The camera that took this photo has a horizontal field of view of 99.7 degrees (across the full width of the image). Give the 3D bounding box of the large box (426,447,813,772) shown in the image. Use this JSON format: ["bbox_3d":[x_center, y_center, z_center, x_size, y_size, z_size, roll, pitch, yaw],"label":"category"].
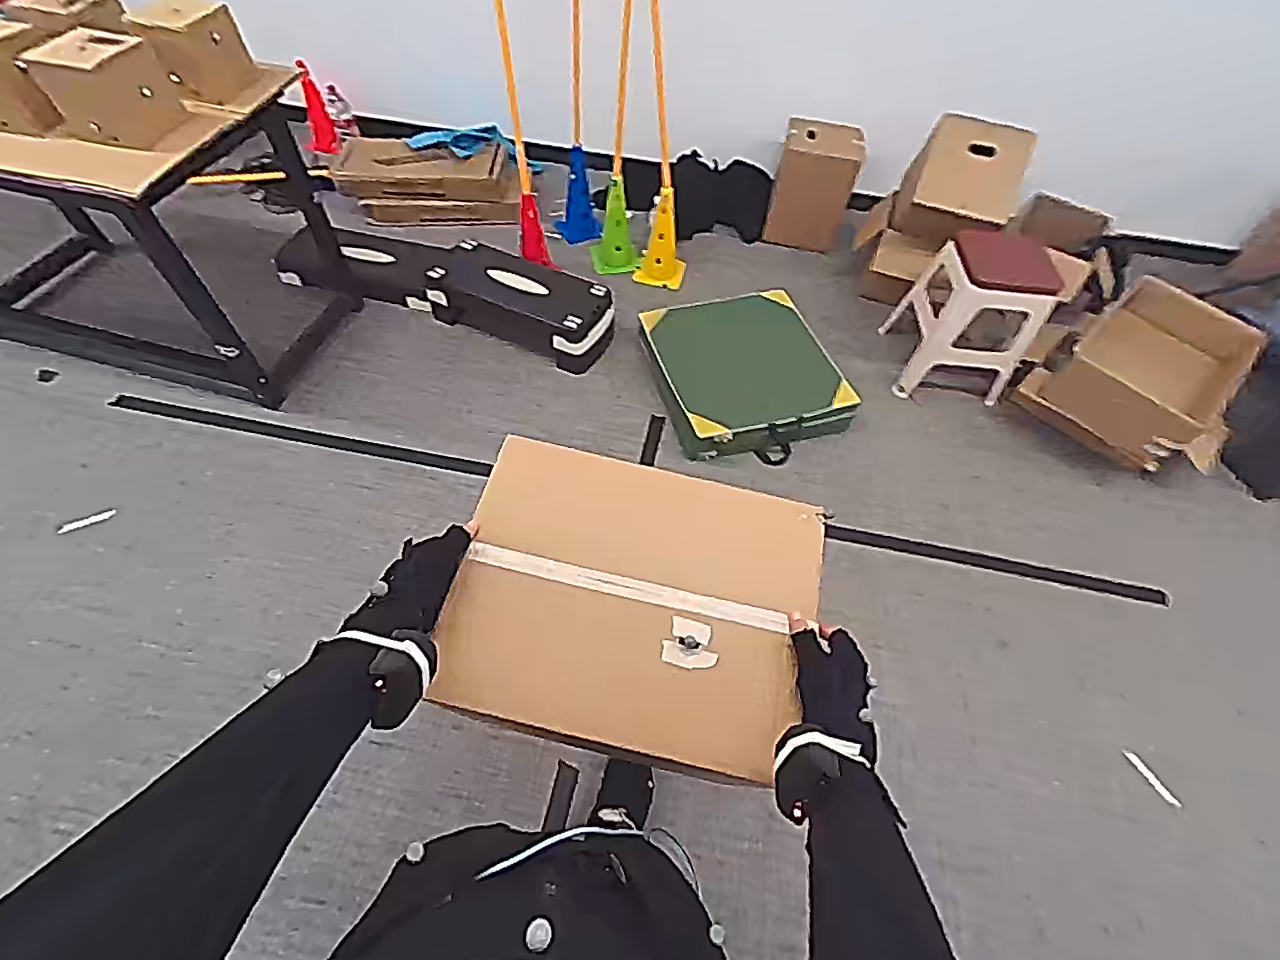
[{"bbox_3d":[-0.016,0.196,0.752,0.408,0.320,0.320,13,62,0],"label":"large box"}]
